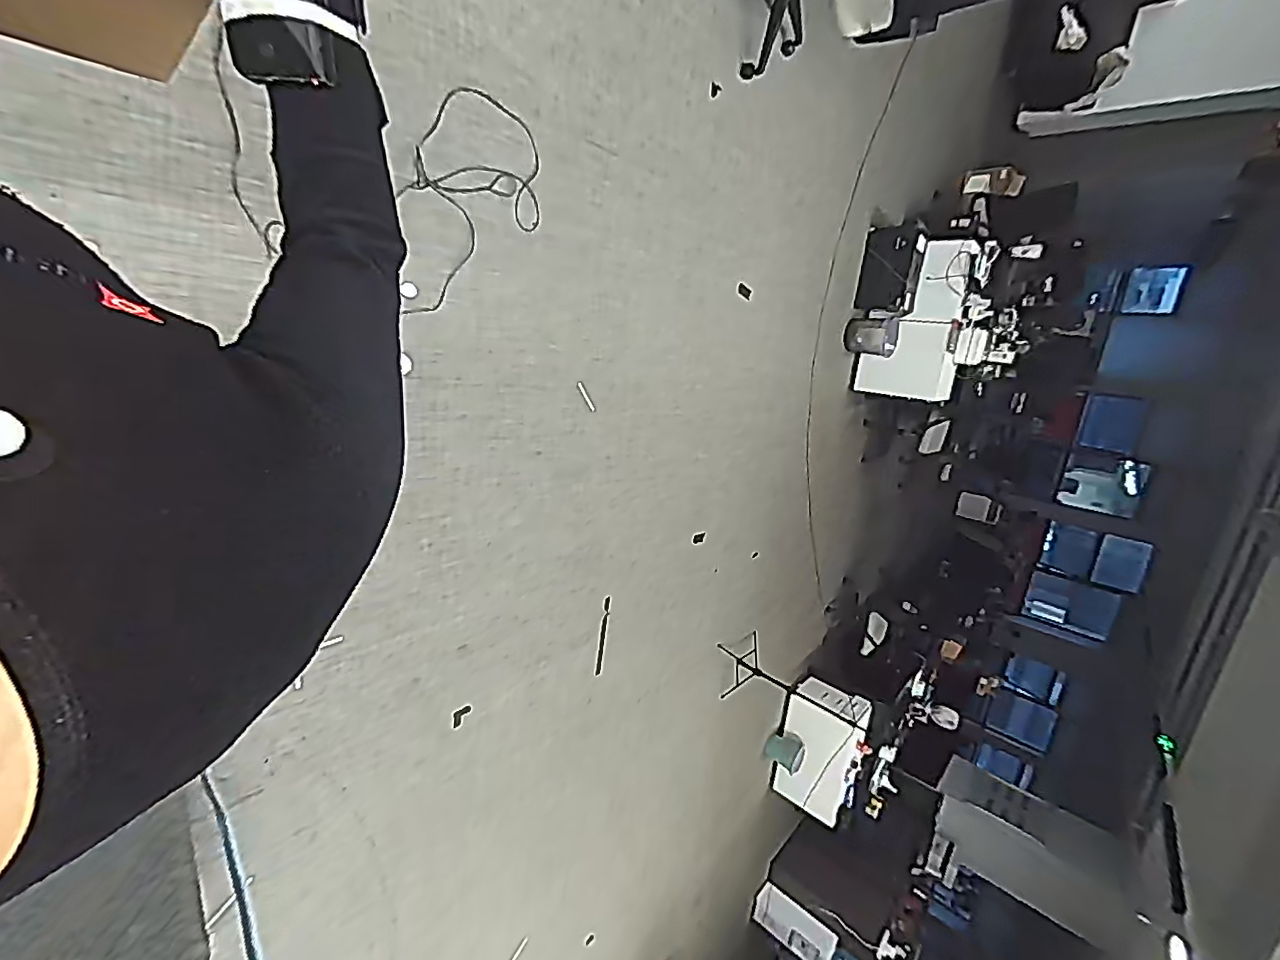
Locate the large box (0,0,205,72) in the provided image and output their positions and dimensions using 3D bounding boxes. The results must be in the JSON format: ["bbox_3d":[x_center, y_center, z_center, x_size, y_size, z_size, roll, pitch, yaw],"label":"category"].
[{"bbox_3d":[-0.465,-0.471,0.236,0.408,0.320,0.320,-14,109,-47],"label":"large box"}]
